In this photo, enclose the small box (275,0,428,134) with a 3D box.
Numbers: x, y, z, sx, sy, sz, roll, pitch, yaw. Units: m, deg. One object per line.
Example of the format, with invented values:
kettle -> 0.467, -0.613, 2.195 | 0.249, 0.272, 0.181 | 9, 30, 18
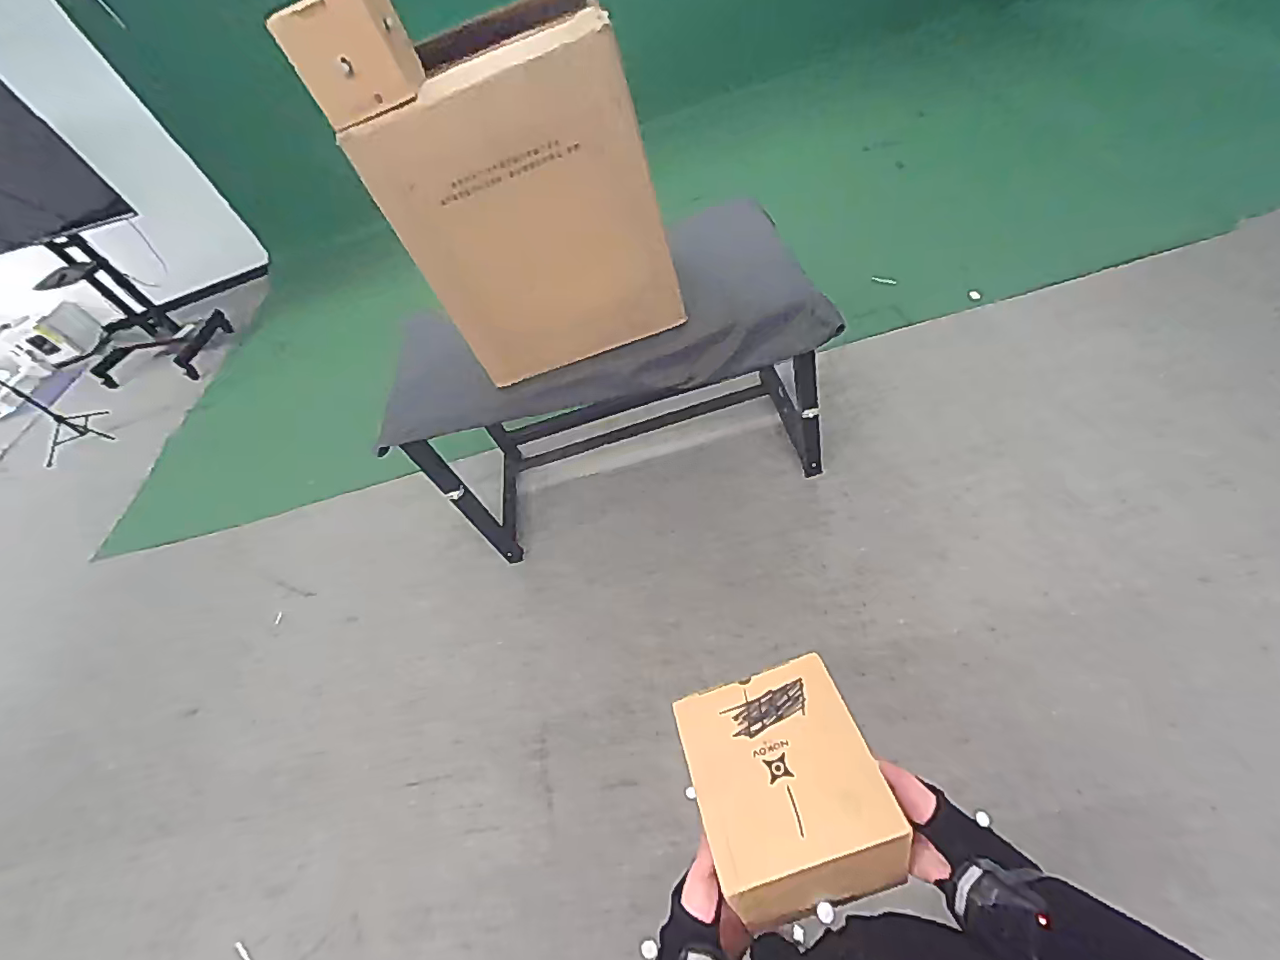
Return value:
small box -> -0.511, -0.766, 0.987 | 0.168, 0.176, 0.179 | -17, 49, 7
